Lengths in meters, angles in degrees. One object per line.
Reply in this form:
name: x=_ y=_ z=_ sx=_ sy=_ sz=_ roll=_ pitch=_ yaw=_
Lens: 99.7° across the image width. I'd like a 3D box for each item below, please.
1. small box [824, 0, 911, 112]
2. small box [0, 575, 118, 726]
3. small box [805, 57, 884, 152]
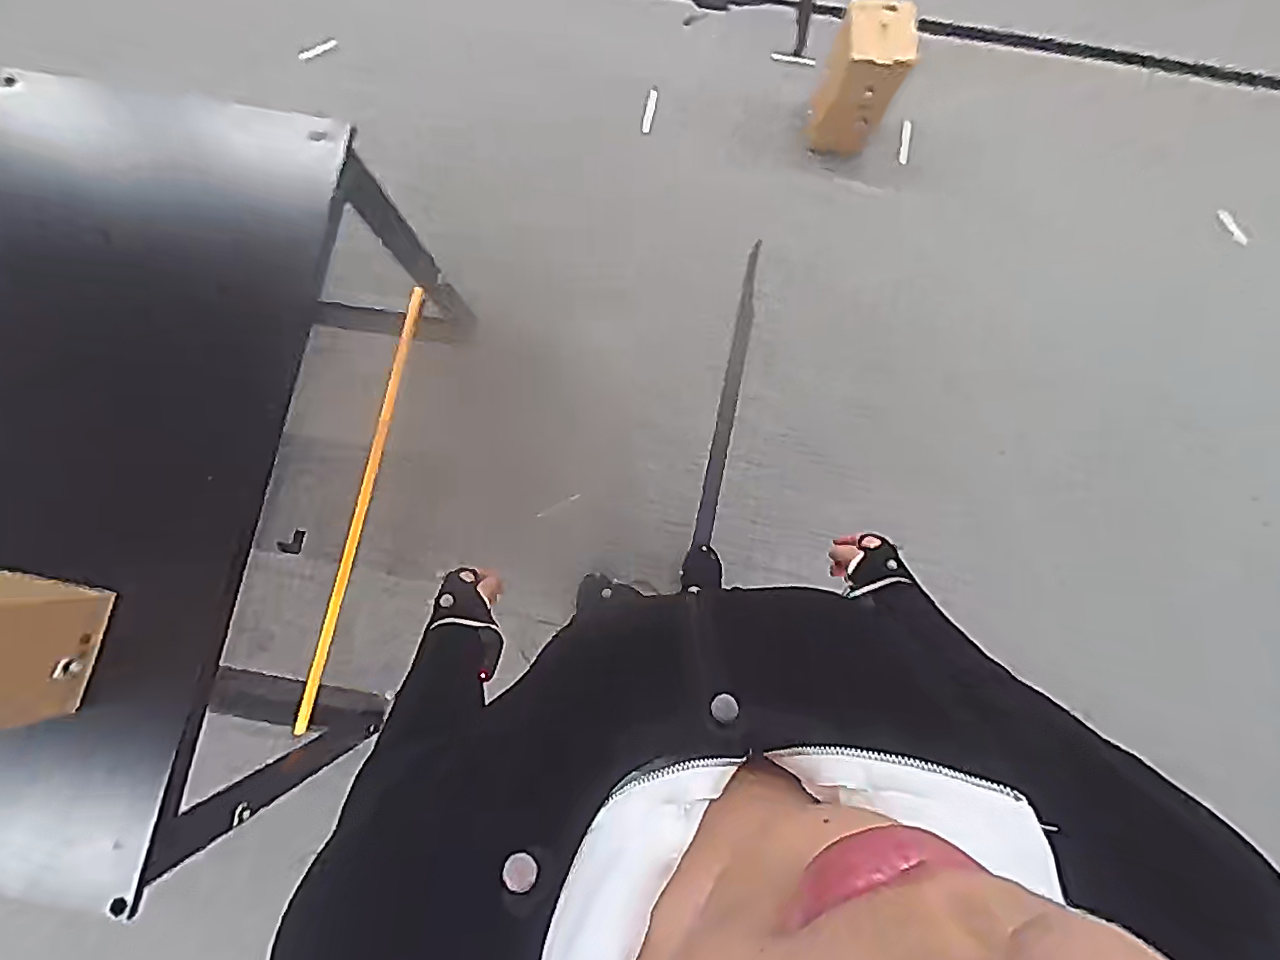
small box: x=0.601 y=-1.123 z=1.442 sx=0.168 sy=0.176 sz=0.179 roll=3 pitch=83 yaw=0
small box: x=-0.853 y=0.219 z=0.697 sx=0.179 sy=0.176 sz=0.168 roll=10 pitch=83 yaw=1
small box: x=0.605 y=-1.110 z=1.606 sx=0.179 sy=0.176 sz=0.168 roll=4 pitch=82 yaw=1
